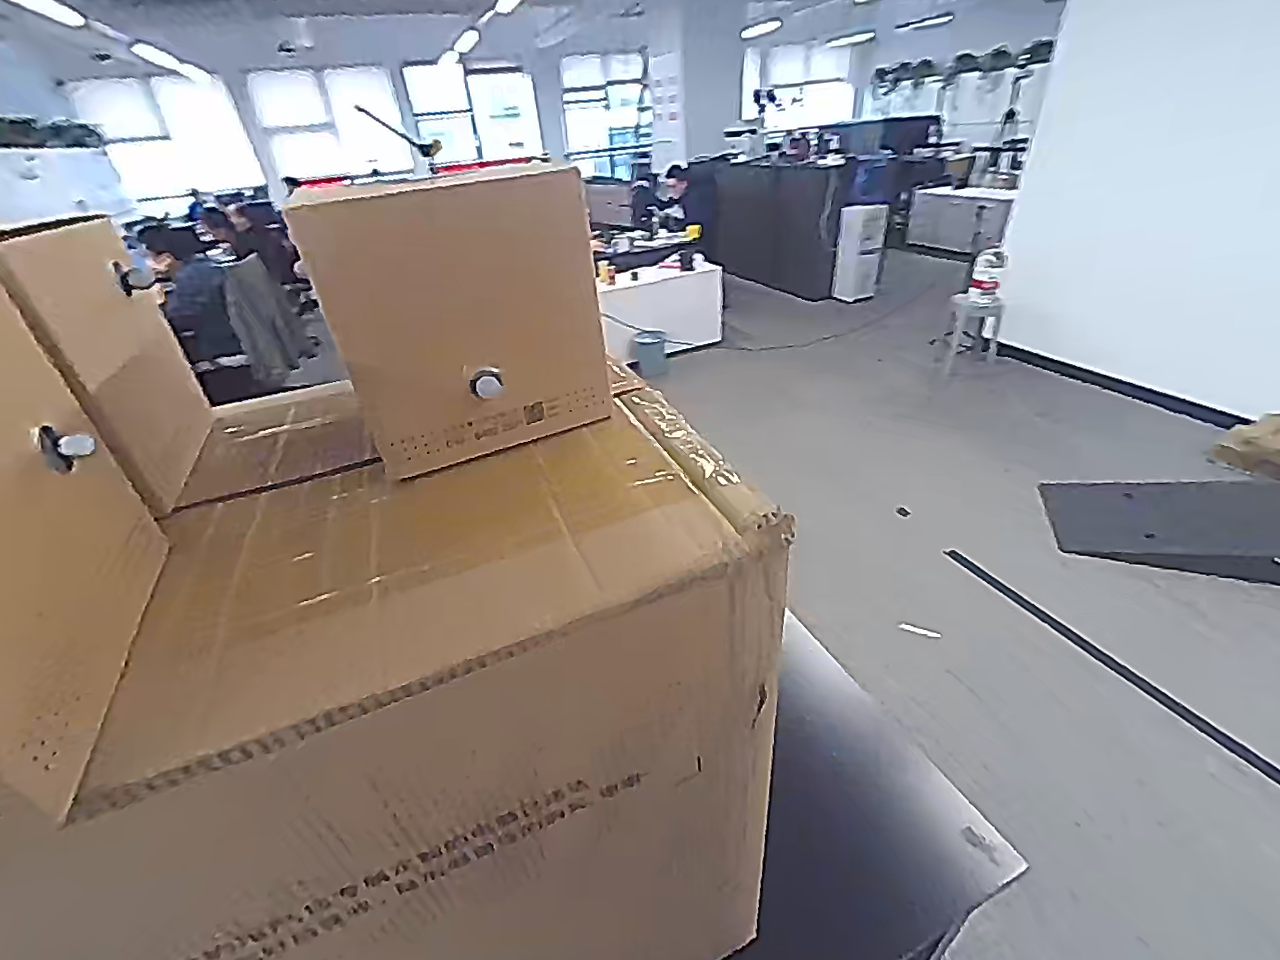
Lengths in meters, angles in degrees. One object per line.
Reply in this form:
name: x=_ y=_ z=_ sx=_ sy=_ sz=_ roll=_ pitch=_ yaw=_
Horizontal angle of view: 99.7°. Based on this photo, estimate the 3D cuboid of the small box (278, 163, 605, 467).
small box: x=-0.139 y=-0.132 z=0.408 sx=0.168 sy=0.176 sz=0.179 roll=-20 pitch=35 yaw=-19

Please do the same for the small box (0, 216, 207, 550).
small box: x=-0.419 y=-0.064 z=0.344 sx=0.168 sy=0.176 sz=0.179 roll=-18 pitch=33 yaw=-19
